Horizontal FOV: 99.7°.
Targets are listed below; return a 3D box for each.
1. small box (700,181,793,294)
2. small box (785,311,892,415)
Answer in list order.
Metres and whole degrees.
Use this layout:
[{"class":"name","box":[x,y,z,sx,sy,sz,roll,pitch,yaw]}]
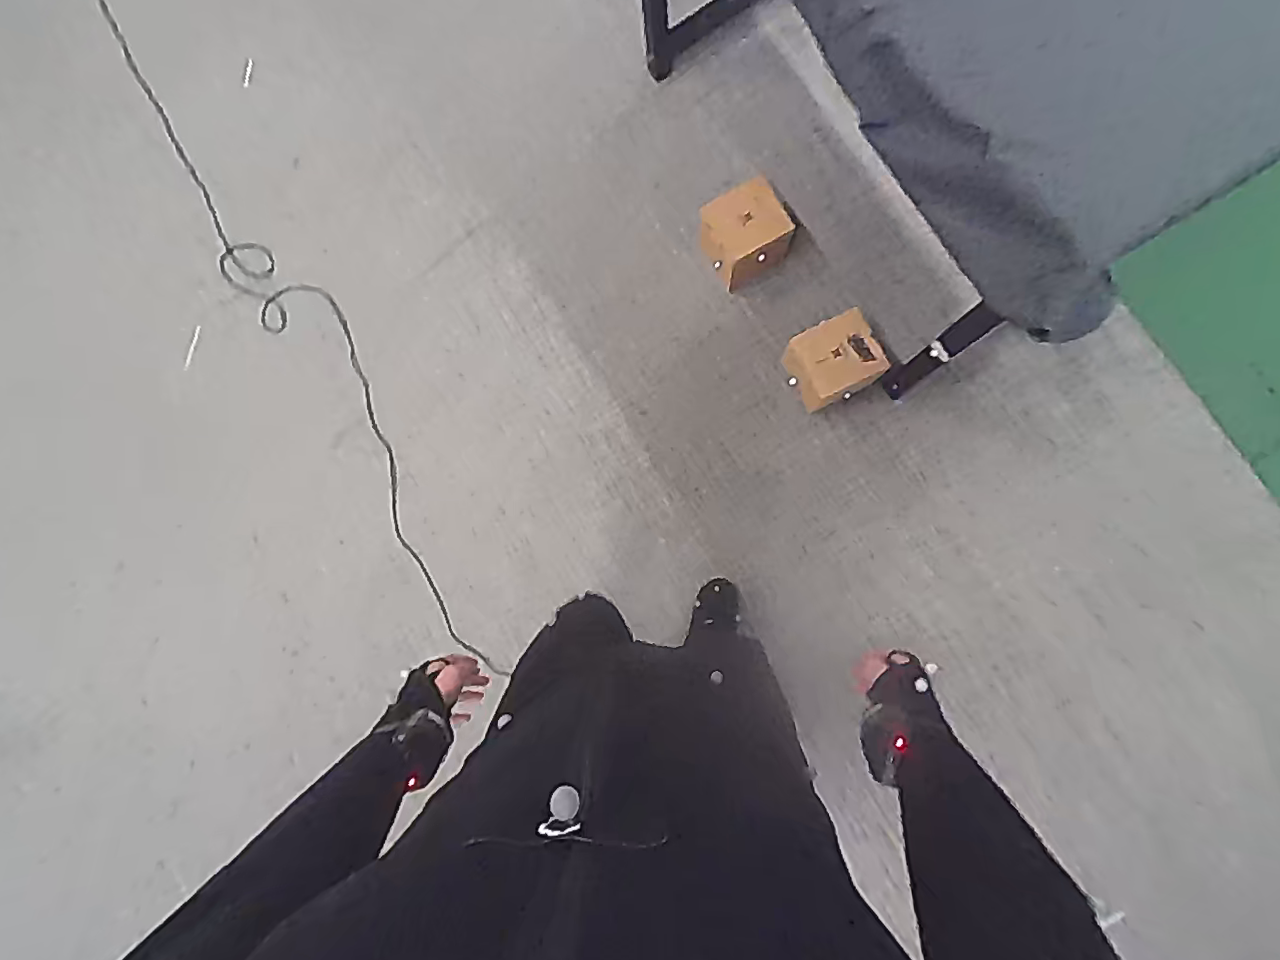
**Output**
[{"class":"small box","box":[0.269,-0.618,1.402,0.179,0.176,0.168,-30,82,1]},{"class":"small box","box":[0.479,-0.281,1.333,0.179,0.176,0.168,-26,81,4]}]
